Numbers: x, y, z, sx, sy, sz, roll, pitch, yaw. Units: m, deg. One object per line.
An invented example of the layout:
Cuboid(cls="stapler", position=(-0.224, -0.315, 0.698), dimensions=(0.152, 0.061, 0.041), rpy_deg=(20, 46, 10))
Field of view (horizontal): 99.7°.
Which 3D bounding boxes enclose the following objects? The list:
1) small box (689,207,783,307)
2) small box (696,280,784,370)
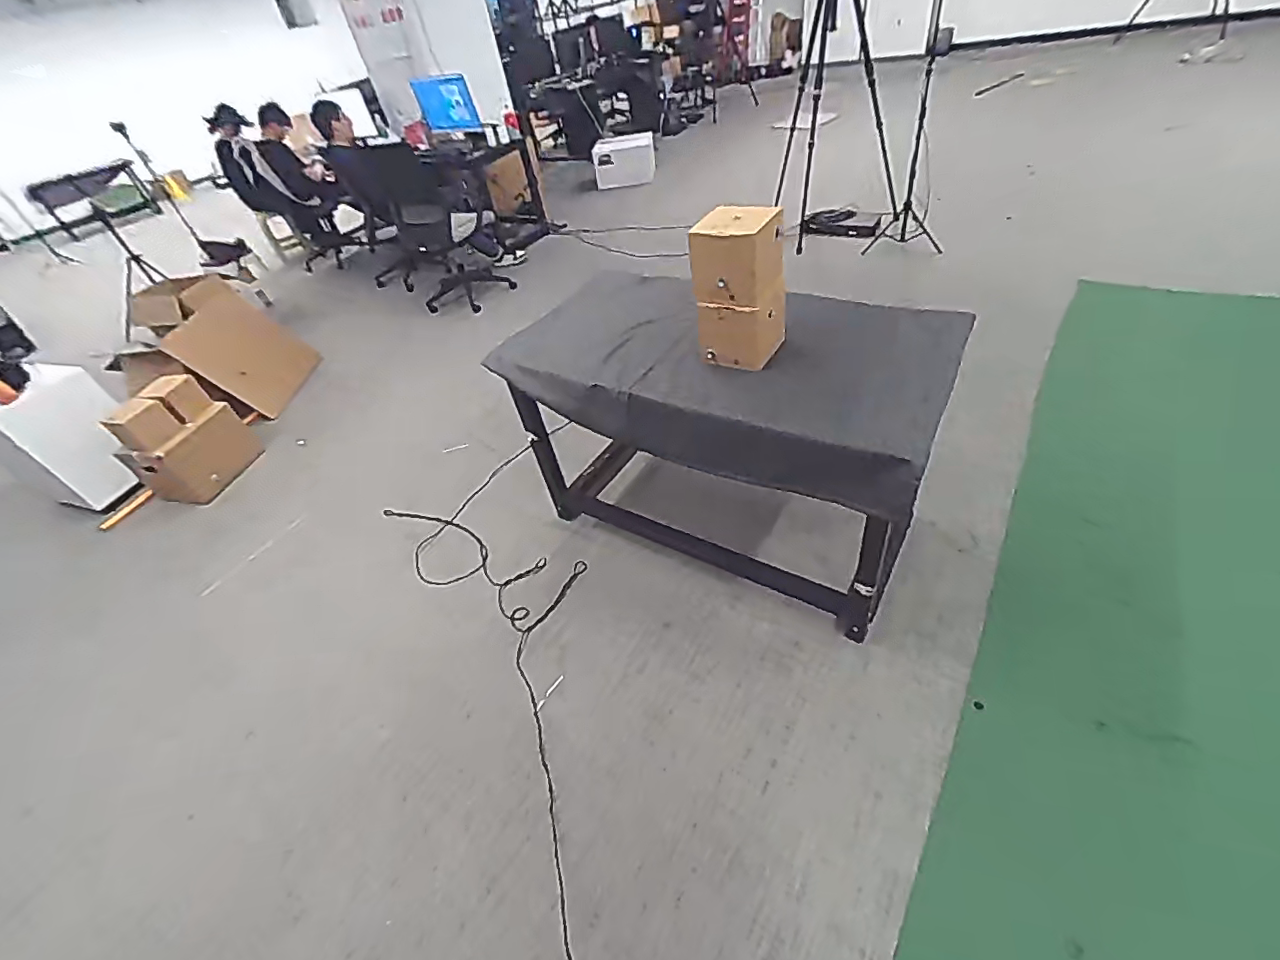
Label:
Cuboid(cls="small box", position=(0.232, -0.533, 1.290), dimensions=(0.168, 0.176, 0.179), rpy_deg=(16, 50, 29))
Cuboid(cls="small box", position=(0.262, -0.401, 1.385), dimensions=(0.168, 0.176, 0.179), rpy_deg=(18, 49, 29))
